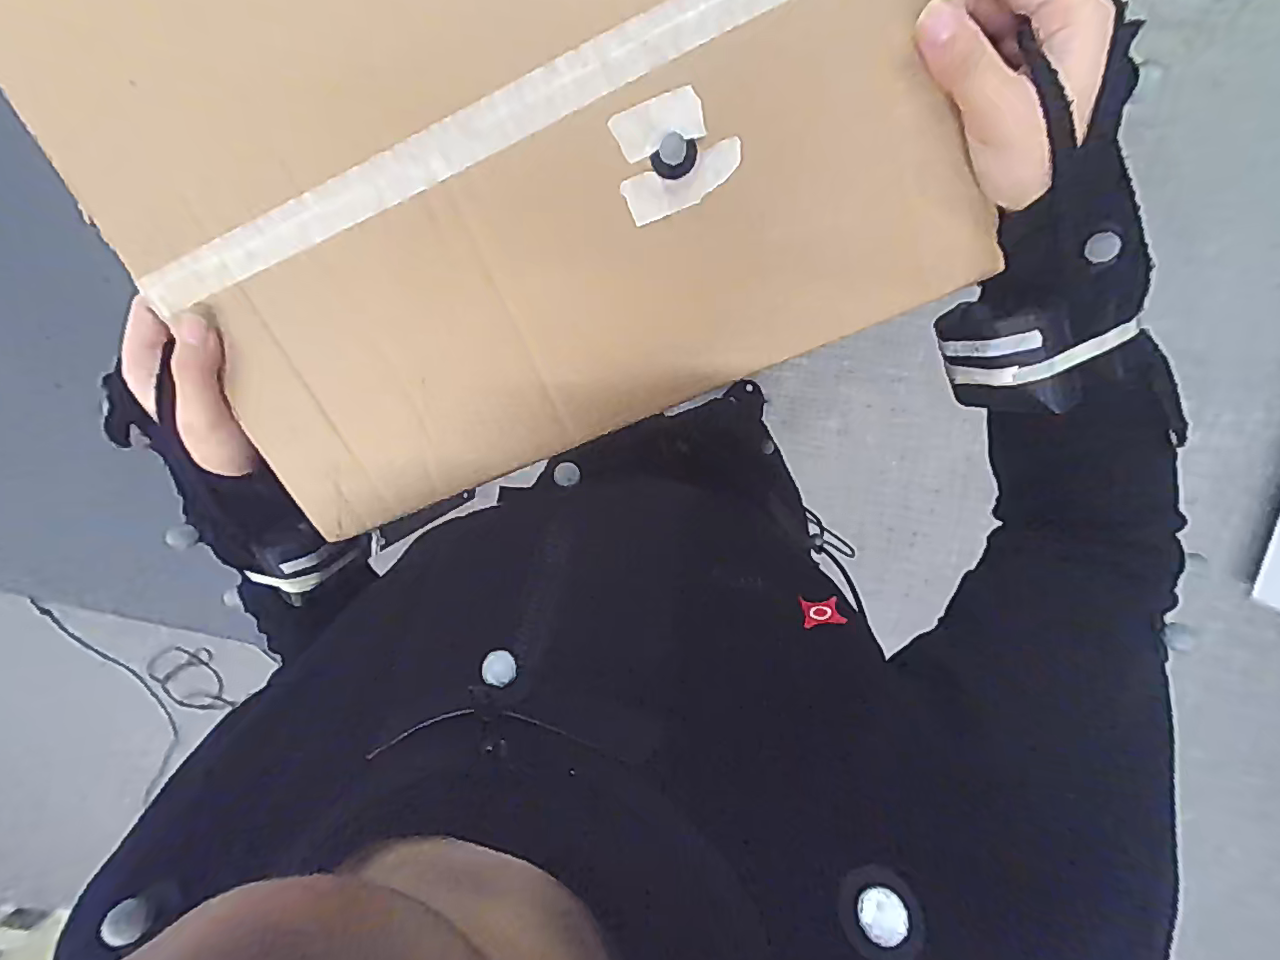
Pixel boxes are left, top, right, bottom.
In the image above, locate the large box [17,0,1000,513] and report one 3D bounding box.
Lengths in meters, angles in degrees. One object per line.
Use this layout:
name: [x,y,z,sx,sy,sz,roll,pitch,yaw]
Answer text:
large box: [-0.053,-0.232,0.399,0.408,0.320,0.320,-21,110,7]
